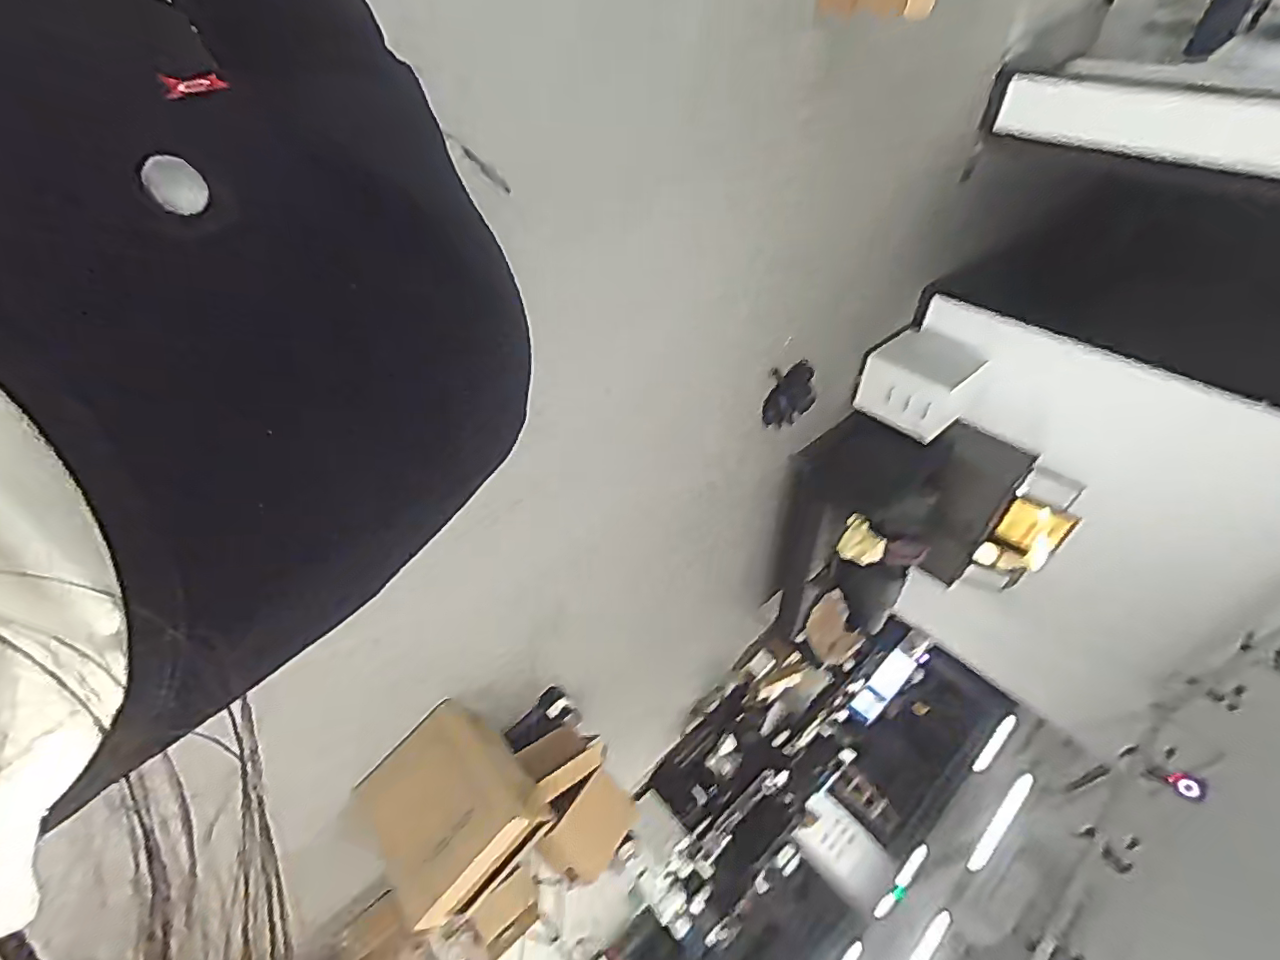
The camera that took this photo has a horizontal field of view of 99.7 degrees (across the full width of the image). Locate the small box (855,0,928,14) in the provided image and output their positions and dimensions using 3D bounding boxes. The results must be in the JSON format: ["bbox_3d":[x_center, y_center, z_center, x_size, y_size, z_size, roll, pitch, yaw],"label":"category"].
[{"bbox_3d":[0.785,-1.546,1.650,0.168,0.176,0.179,-32,142,-29],"label":"small box"}]
